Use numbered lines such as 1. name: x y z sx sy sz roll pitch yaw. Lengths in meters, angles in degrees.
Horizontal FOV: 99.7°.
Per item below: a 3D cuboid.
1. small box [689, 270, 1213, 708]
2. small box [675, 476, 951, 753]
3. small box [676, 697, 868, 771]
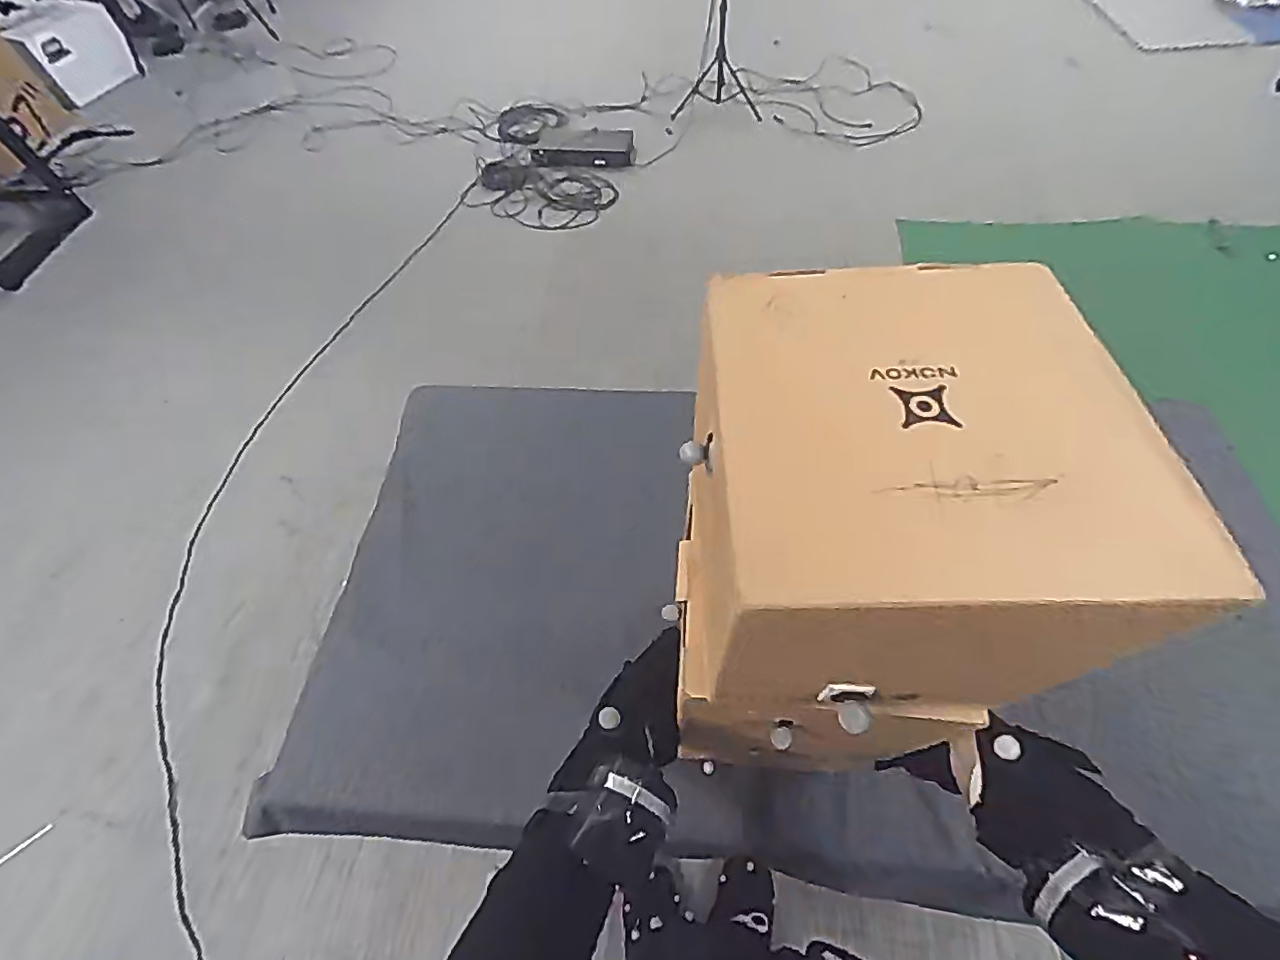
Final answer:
1. small box: 0.113 0.013 0.295 0.168 0.176 0.179 -3 56 3
2. small box: 0.118 0.110 0.429 0.179 0.176 0.168 1 54 4
3. small box: 0.126 0.195 0.566 0.168 0.176 0.179 1 55 6
